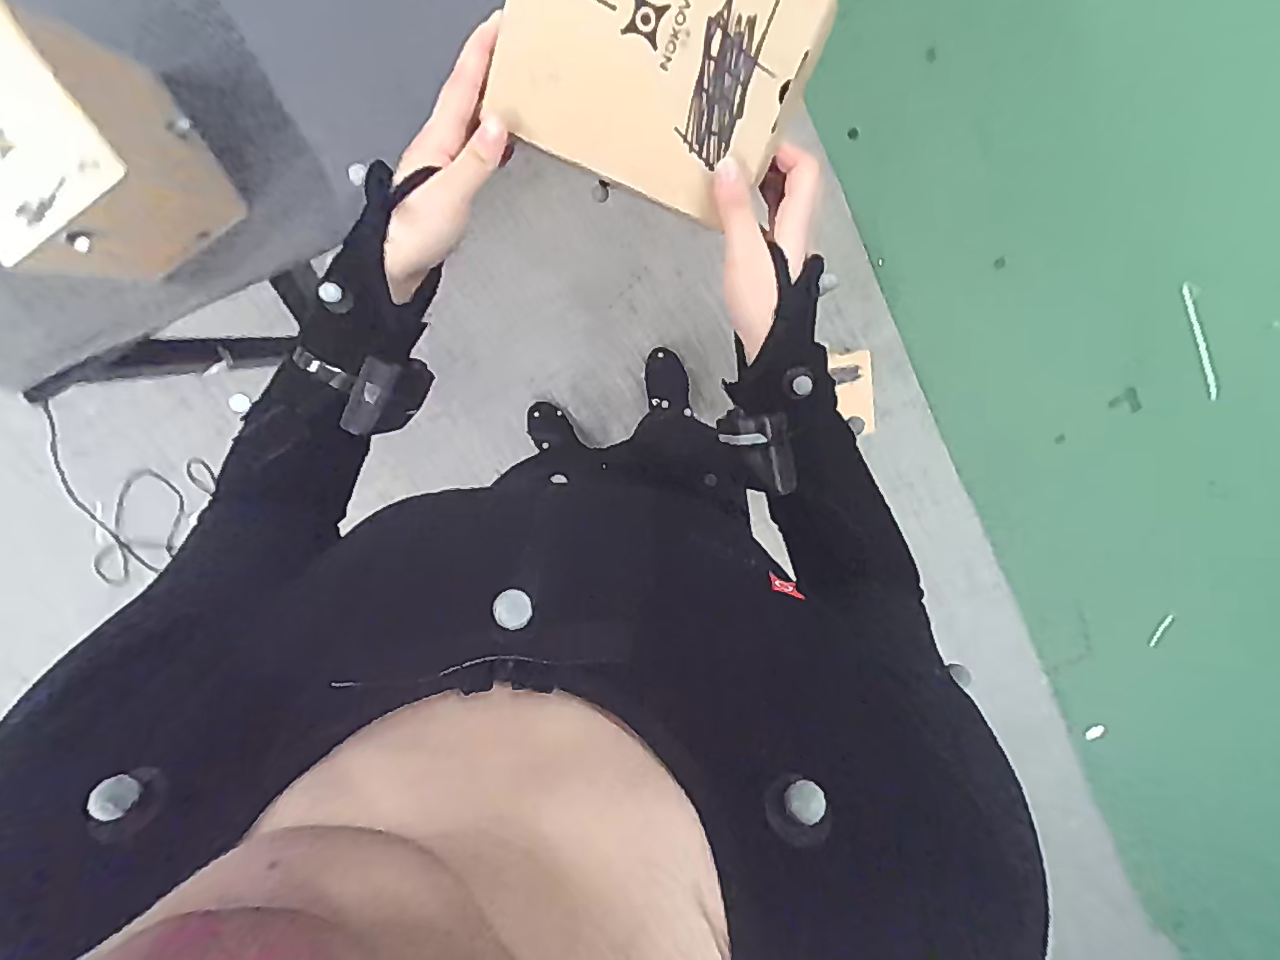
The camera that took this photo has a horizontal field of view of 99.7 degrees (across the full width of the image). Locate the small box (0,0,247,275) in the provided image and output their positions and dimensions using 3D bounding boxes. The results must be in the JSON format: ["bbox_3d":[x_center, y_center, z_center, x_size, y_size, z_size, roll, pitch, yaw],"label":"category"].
[{"bbox_3d":[-0.586,-0.343,0.576,0.168,0.176,0.179,-29,103,8],"label":"small box"}]

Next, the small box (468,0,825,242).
[{"bbox_3d":[0.005,-0.290,0.384,0.179,0.176,0.168,20,115,-8],"label":"small box"}]

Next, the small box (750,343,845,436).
[{"bbox_3d":[0.384,-0.230,1.340,0.168,0.176,0.179,-19,104,6],"label":"small box"}]
